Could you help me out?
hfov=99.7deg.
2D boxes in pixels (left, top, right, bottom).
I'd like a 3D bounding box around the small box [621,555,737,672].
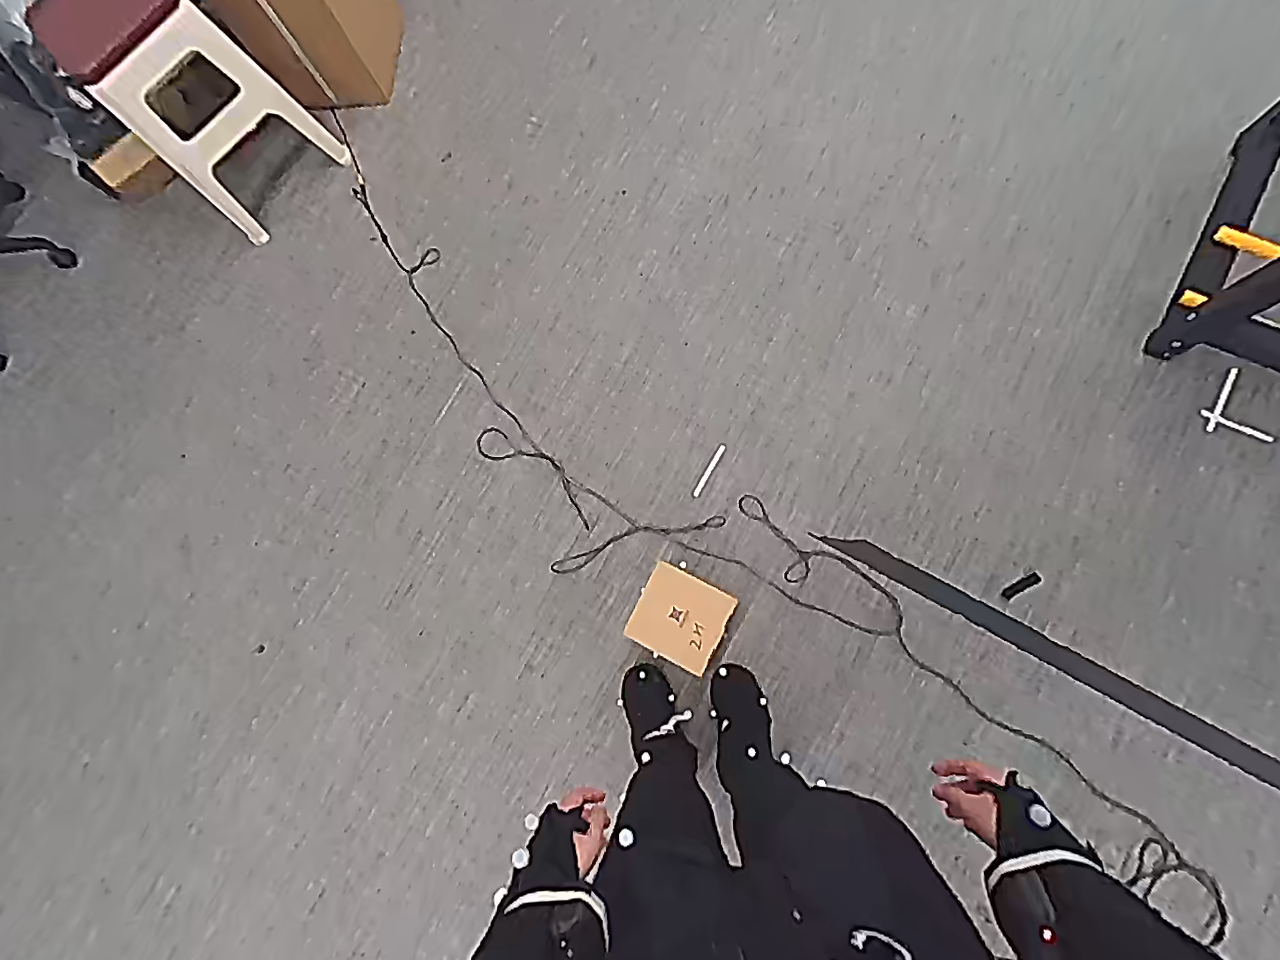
[{"bbox_3d":[0.085,0.271,1.122,0.179,0.176,0.168,26,85,12],"label":"small box"}]
